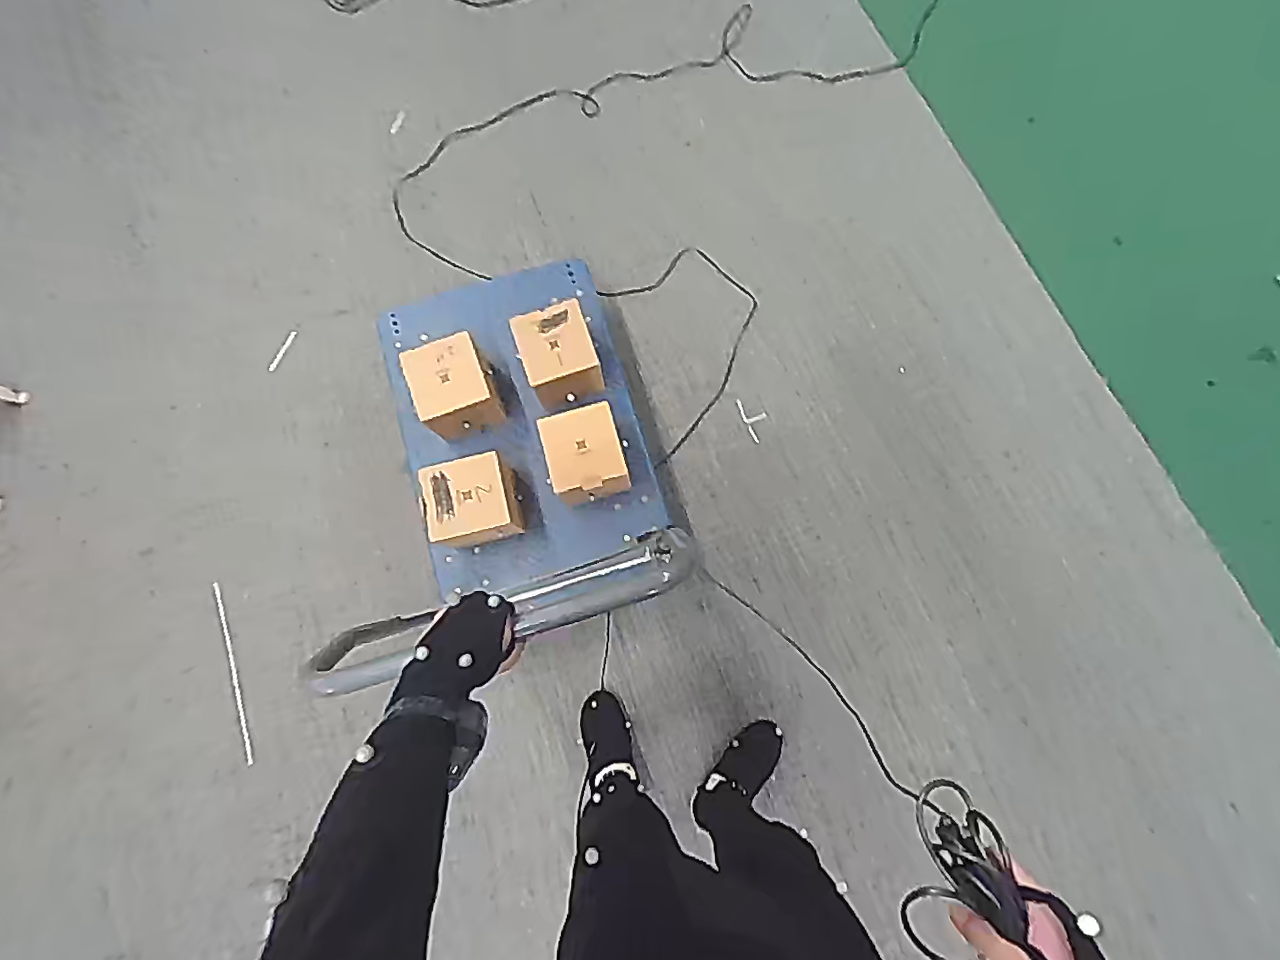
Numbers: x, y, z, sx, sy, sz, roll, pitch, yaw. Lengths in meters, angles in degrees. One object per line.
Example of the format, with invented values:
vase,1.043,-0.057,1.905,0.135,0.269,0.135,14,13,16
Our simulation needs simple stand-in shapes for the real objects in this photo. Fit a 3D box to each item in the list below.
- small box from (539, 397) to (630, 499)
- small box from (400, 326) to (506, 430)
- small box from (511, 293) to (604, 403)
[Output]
small box,-0.123,-0.067,1.248,0.168,0.176,0.179,-15,80,-2
small box,-0.434,-0.230,1.280,0.168,0.176,0.179,-20,80,-4
small box,-0.191,-0.309,1.294,0.168,0.176,0.179,-18,81,-3
